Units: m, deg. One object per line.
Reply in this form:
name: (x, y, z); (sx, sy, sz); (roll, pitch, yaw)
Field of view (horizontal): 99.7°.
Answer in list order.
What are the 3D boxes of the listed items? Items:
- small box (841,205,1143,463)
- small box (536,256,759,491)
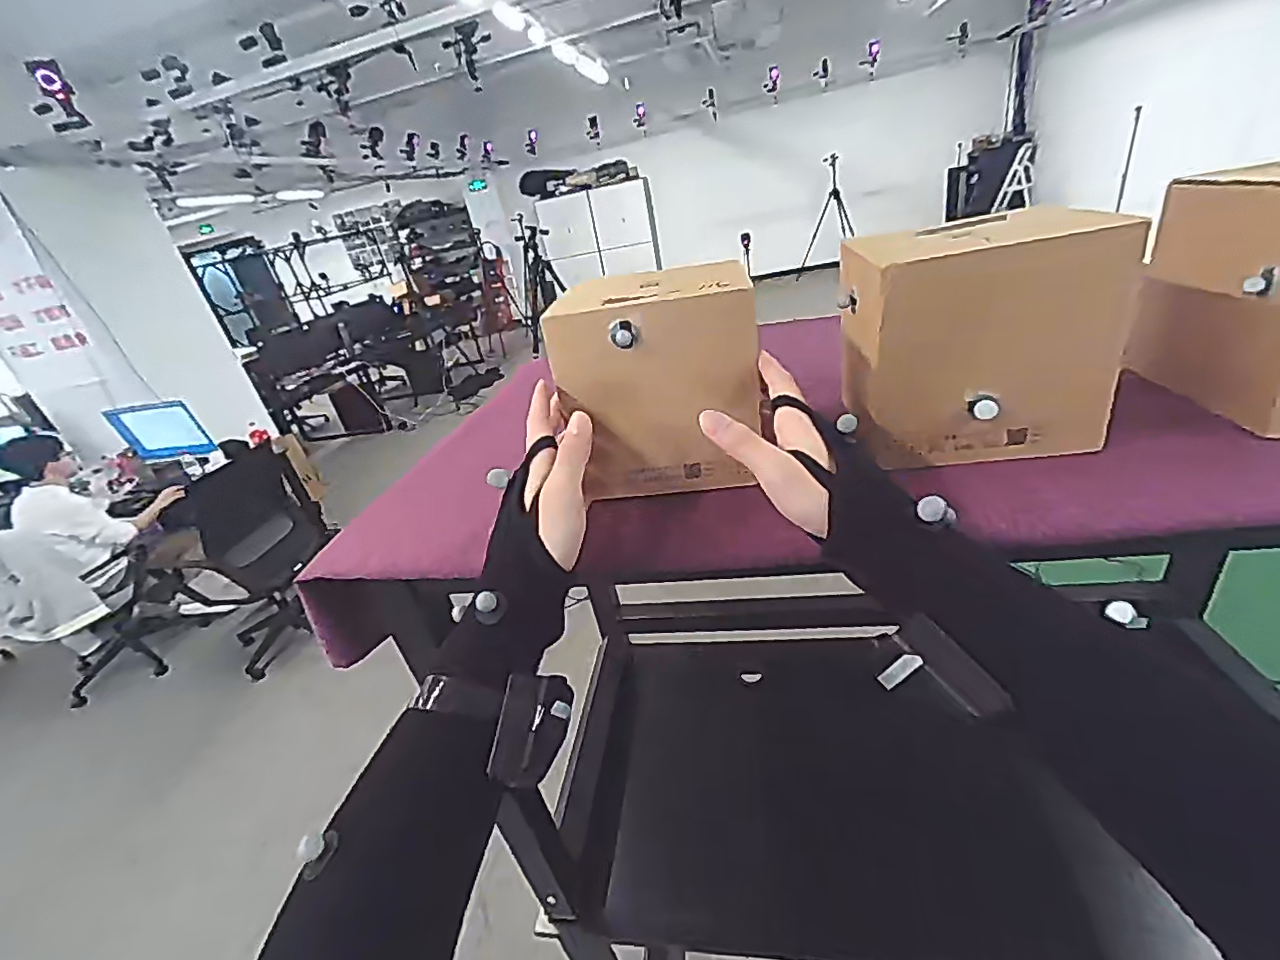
small box: (0.270, -0.128, 0.469); (0.168, 0.176, 0.179); (-5, 28, 14)
small box: (0.020, -0.104, 0.510); (0.168, 0.176, 0.179); (-6, 27, 9)
